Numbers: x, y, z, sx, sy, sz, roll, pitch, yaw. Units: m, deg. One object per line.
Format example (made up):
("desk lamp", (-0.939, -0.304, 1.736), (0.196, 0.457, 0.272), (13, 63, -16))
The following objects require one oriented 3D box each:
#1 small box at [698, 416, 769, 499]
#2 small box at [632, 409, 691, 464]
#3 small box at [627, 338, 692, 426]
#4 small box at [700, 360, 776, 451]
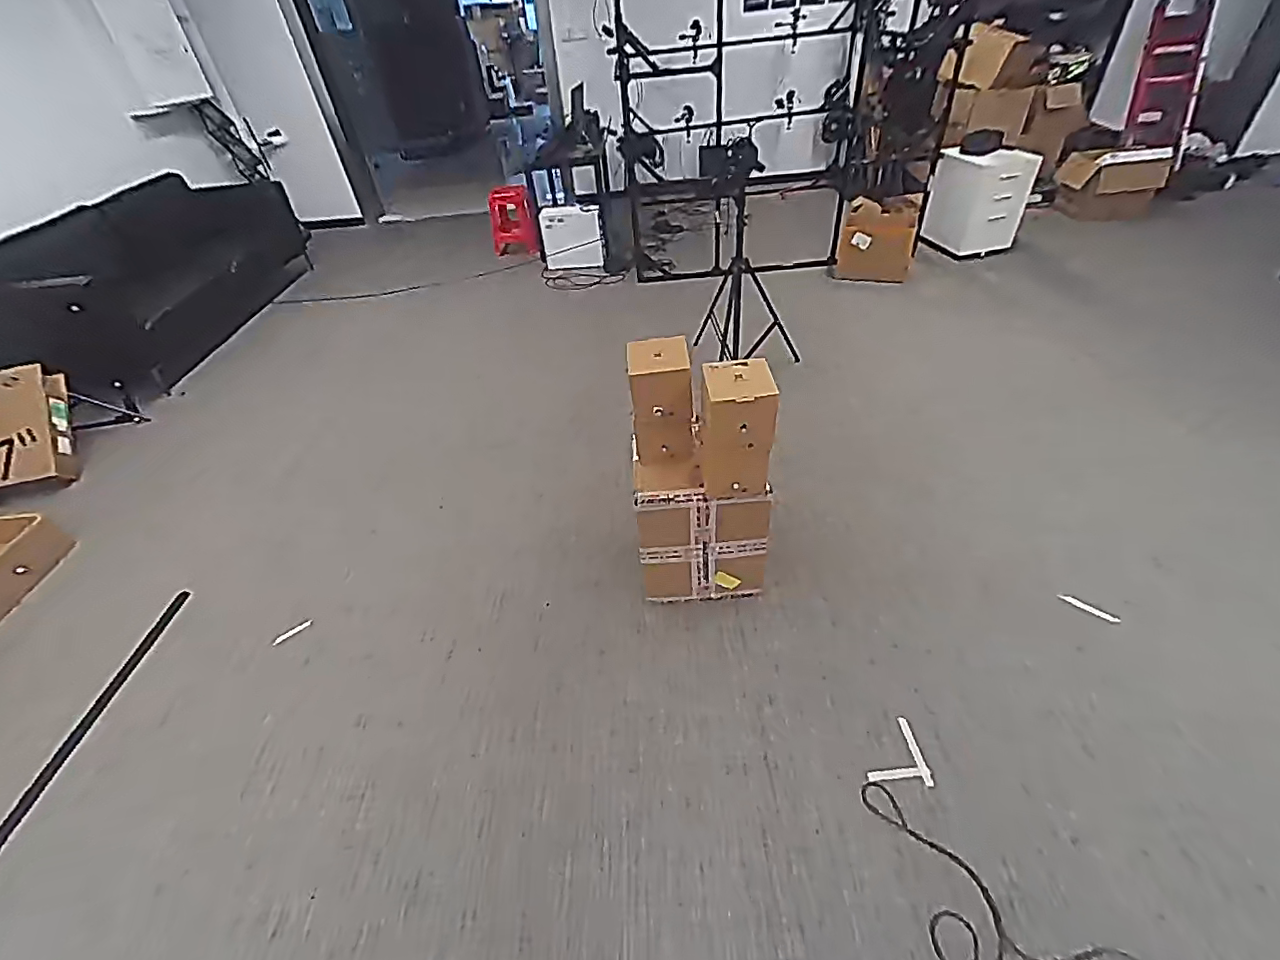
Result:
("small box", (0.253, -0.070, 1.508), (0.168, 0.176, 0.179), (-6, 44, 0))
("small box", (0.064, -0.170, 1.640), (0.168, 0.176, 0.179), (-6, 43, 2))
("small box", (0.054, -0.274, 1.514), (0.168, 0.176, 0.179), (-7, 44, 3))
("small box", (0.247, -0.186, 1.392), (0.168, 0.176, 0.179), (-5, 44, 1))
